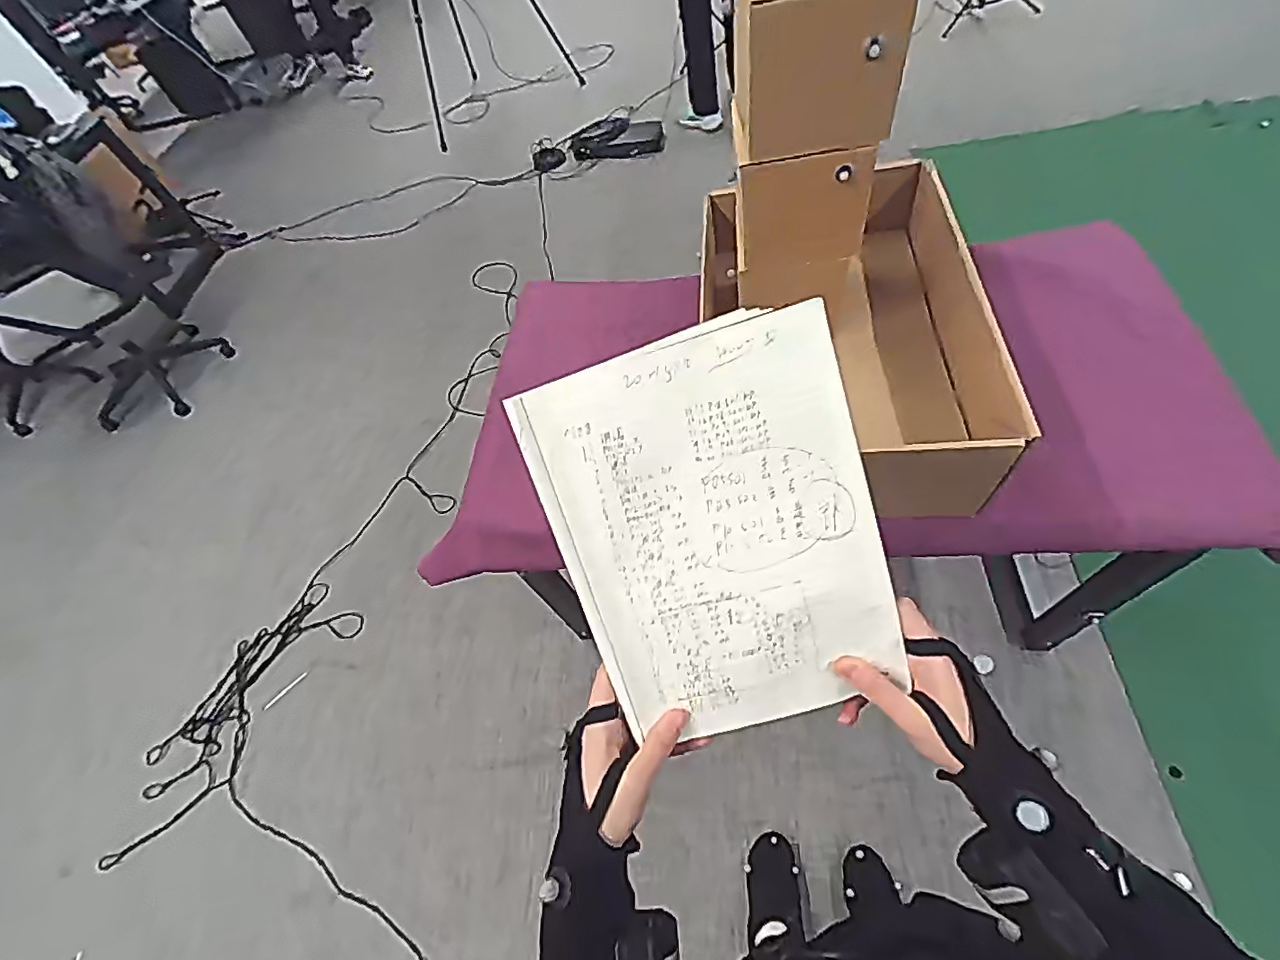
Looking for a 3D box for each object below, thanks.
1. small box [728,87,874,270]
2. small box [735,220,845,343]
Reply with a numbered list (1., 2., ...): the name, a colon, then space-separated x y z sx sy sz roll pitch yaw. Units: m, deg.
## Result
1. small box: 0.227 -0.433 0.797 0.179 0.176 0.168 -4 59 10
2. small box: 0.253 -0.352 0.934 0.168 0.176 0.179 -2 59 11
